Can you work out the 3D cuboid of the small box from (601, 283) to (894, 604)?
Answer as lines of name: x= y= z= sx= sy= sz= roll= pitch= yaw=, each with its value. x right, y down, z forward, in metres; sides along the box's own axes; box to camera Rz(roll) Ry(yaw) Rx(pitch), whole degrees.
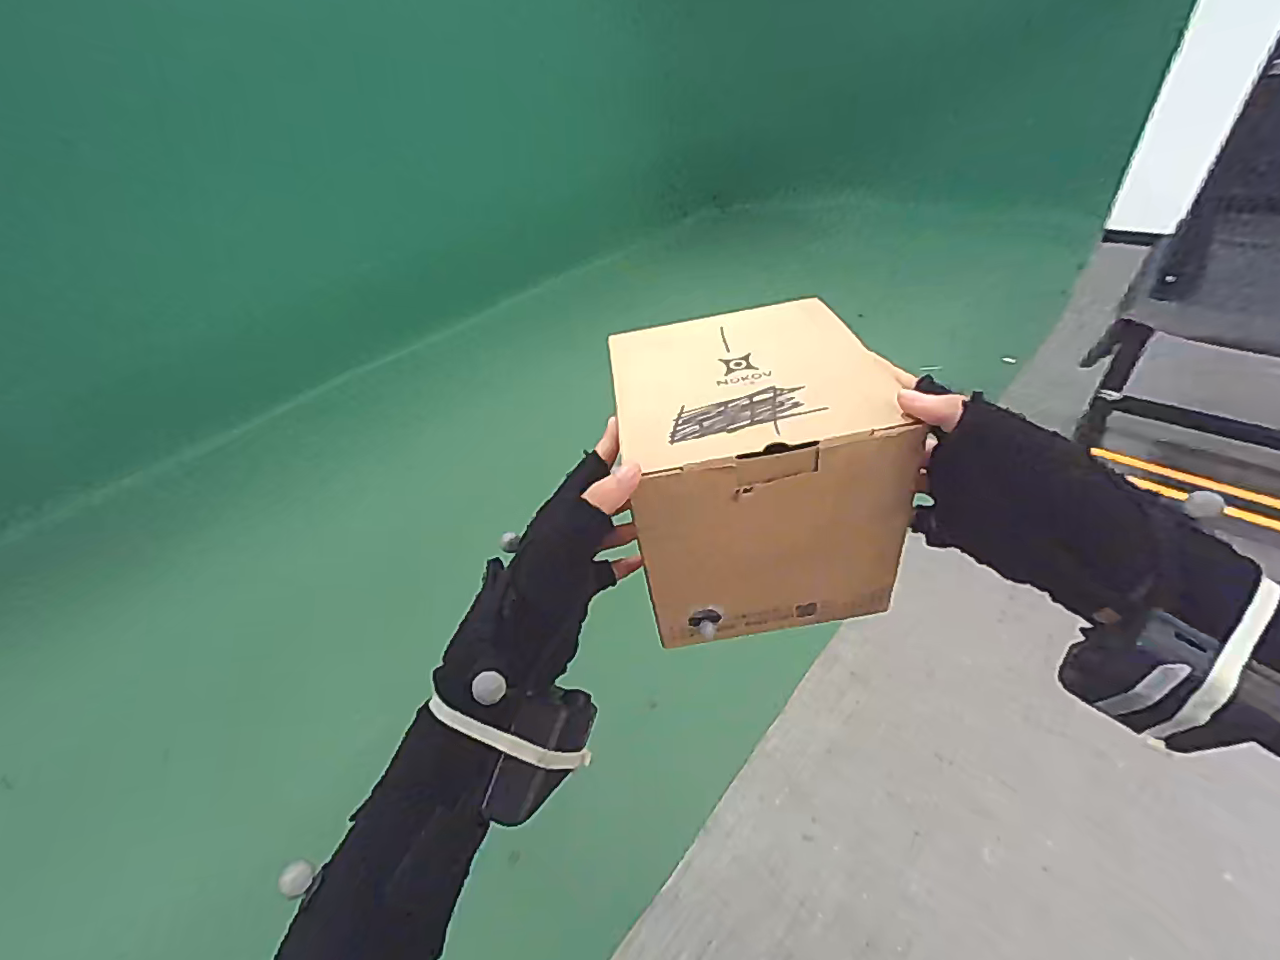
small box: x=0.068 y=-0.024 z=0.411 sx=0.168 sy=0.176 sz=0.179 roll=-10 pitch=39 yaw=2
